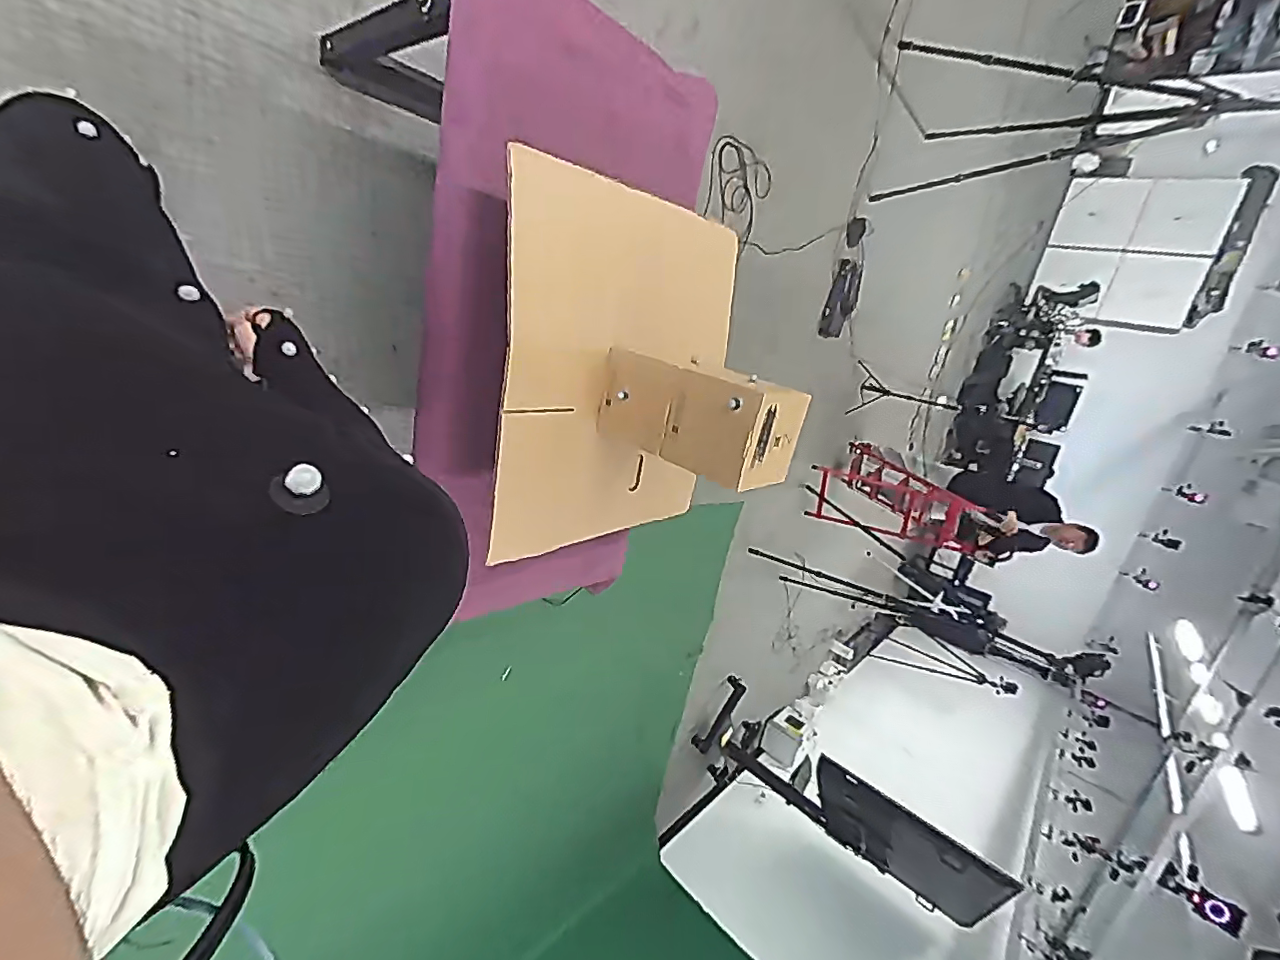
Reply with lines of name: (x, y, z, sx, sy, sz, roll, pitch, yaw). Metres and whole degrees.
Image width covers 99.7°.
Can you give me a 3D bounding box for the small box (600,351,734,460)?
small box: (0.050, -0.149, 1.050, 0.179, 0.176, 0.168, -8, 117, -47)
